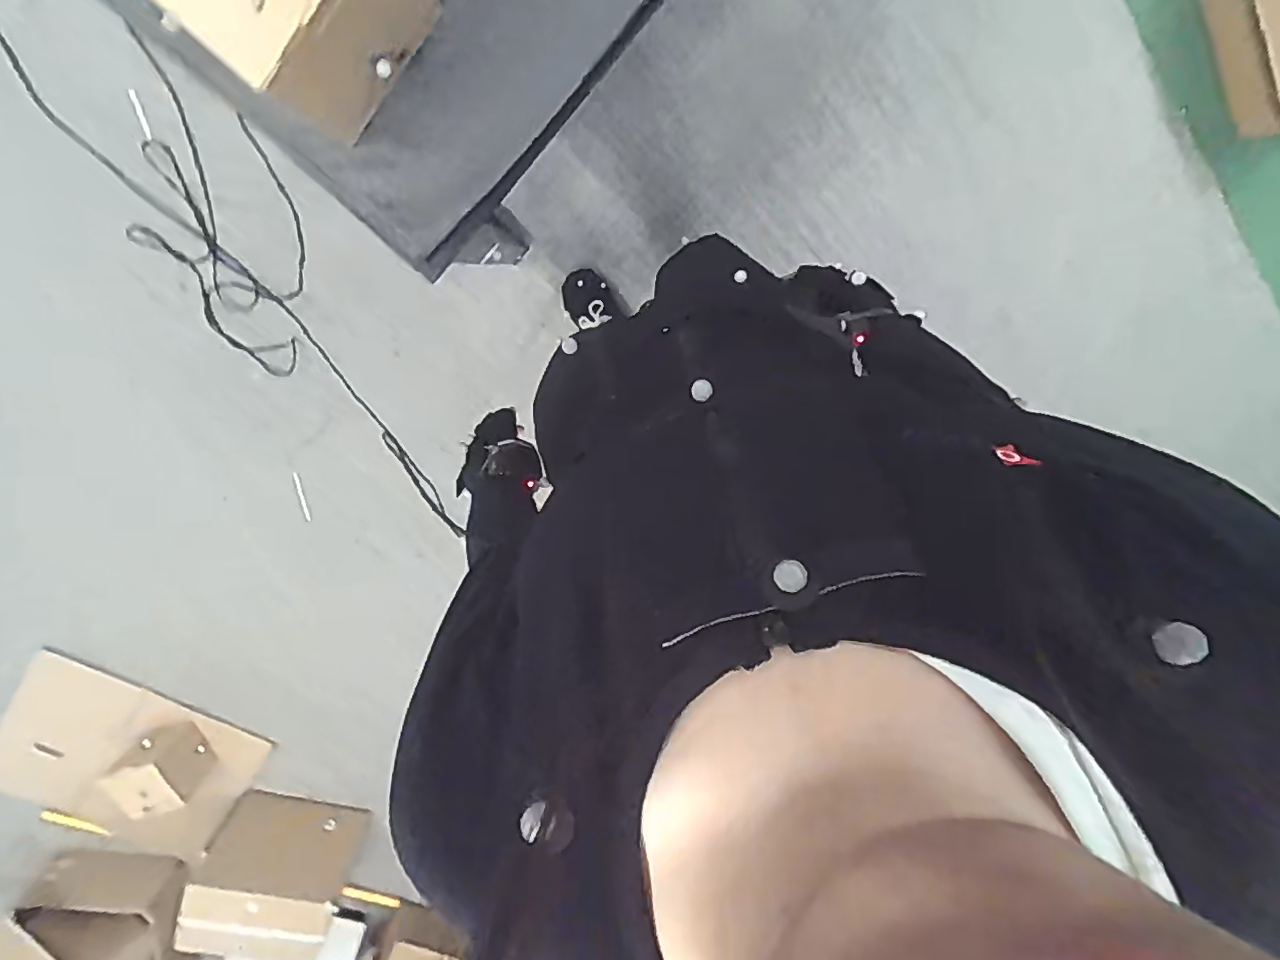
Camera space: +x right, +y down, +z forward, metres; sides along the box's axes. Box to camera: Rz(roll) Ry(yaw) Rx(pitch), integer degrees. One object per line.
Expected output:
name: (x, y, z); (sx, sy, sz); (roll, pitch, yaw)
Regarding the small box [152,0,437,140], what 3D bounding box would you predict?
small box: (-0.307, -0.431, 0.455); (0.179, 0.176, 0.168); (40, 102, -15)
